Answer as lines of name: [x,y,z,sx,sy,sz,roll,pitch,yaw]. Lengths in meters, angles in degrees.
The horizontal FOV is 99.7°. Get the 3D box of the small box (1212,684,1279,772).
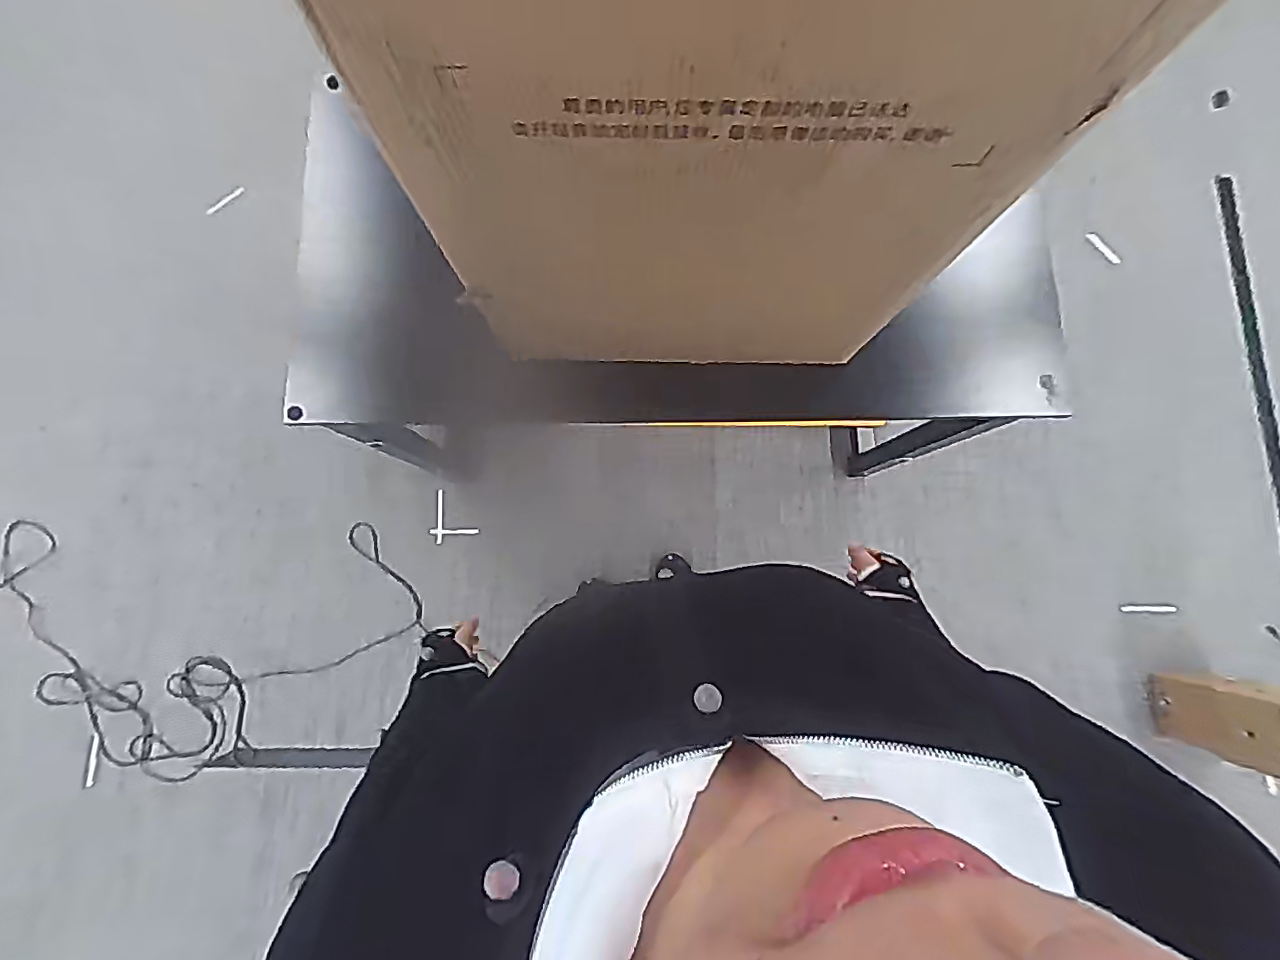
small box: [1.471,0.568,1.233,0.179,0.176,0.168,0,81,0]

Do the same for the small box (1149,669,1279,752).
small box: [1.486,0.590,1.396,0.179,0.176,0.168,-2,80,0]
